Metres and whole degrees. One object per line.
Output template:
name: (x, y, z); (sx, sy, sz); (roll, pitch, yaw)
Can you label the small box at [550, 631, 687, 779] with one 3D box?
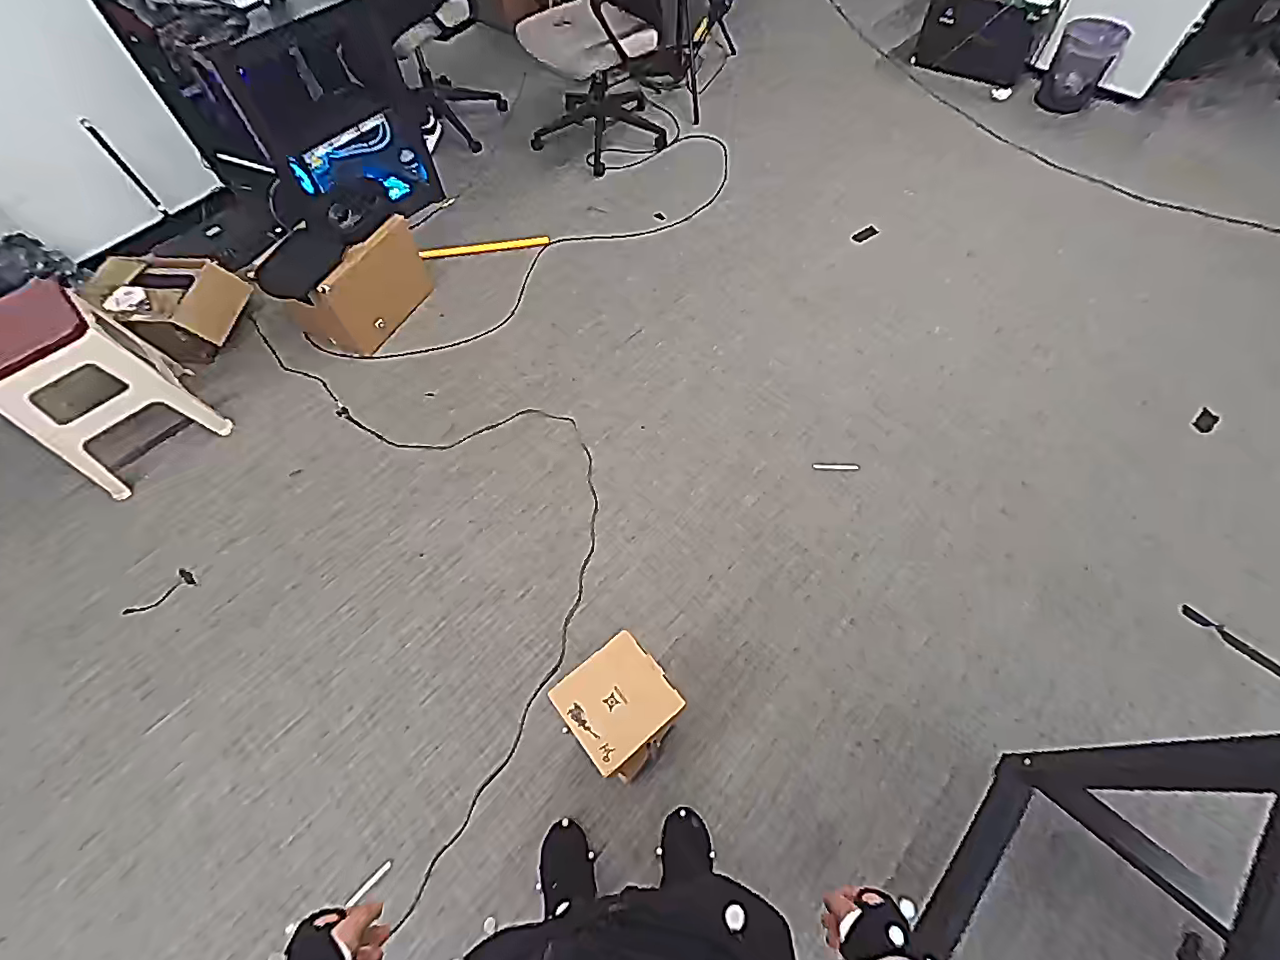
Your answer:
small box: (-0.039, 0.406, 0.974); (0.179, 0.176, 0.168); (-36, 66, -18)
